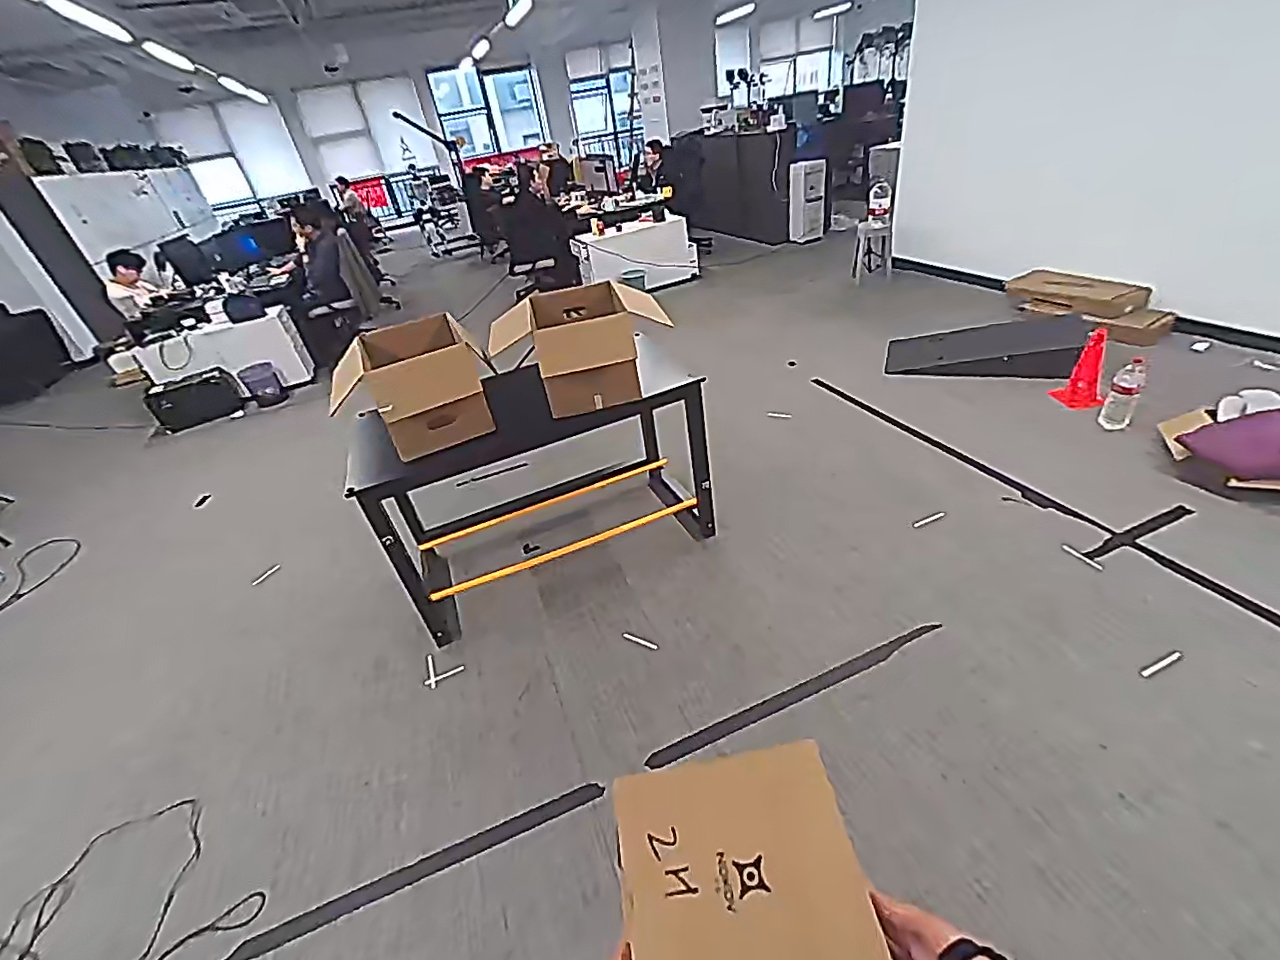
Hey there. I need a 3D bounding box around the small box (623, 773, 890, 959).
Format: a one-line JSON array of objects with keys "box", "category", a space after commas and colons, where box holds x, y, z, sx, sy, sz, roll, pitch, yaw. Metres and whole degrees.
[{"box": [0.090, 0.369, 0.452, 0.179, 0.176, 0.168, -11, 46, 0], "category": "small box"}]
